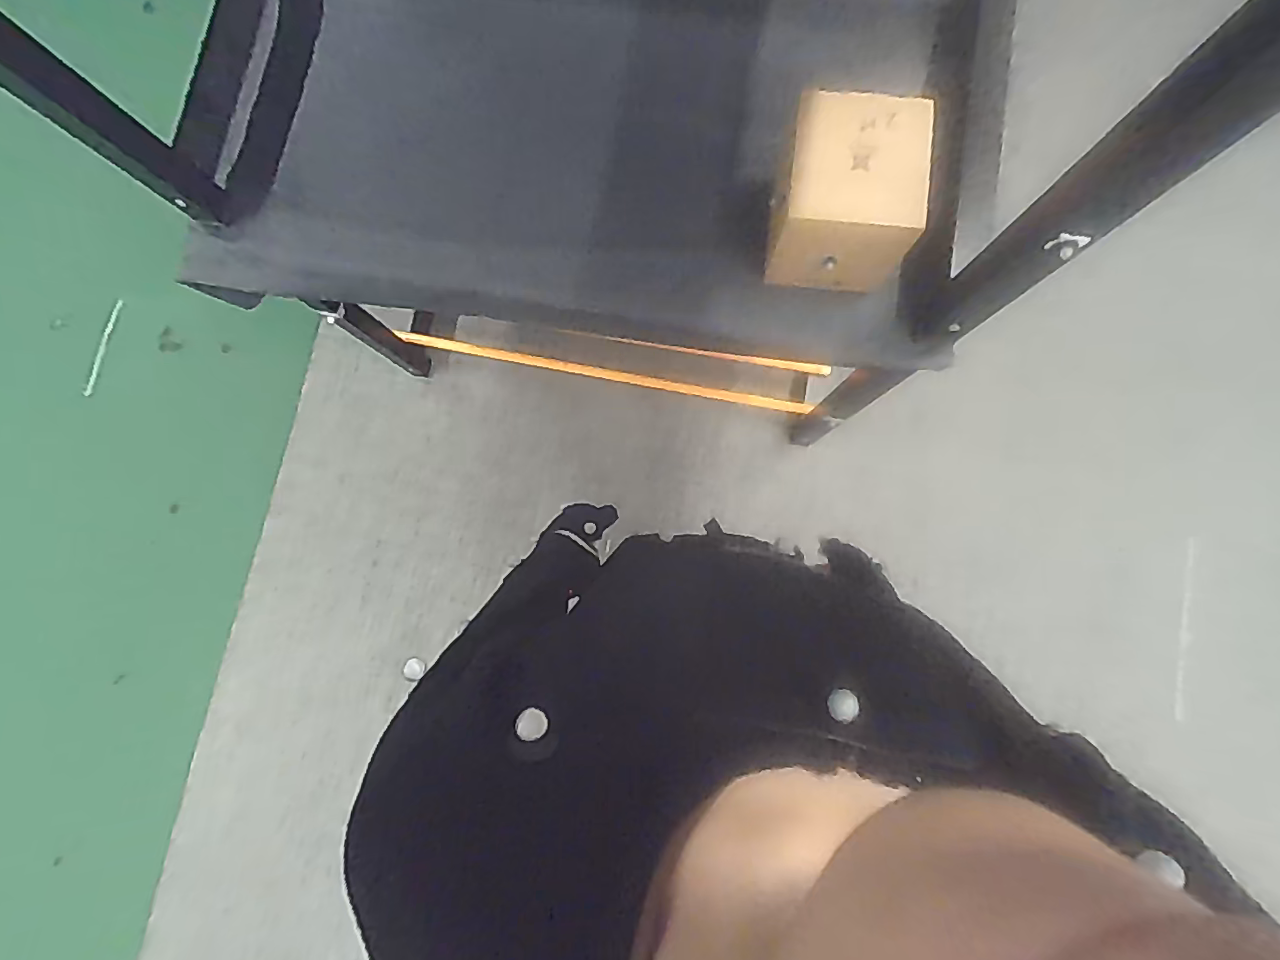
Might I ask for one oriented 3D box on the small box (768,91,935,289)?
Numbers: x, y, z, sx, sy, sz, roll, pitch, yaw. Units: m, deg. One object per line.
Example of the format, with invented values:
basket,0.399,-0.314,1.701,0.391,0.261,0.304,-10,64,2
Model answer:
small box,0.277,-0.383,0.743,0.168,0.176,0.179,7,83,3
